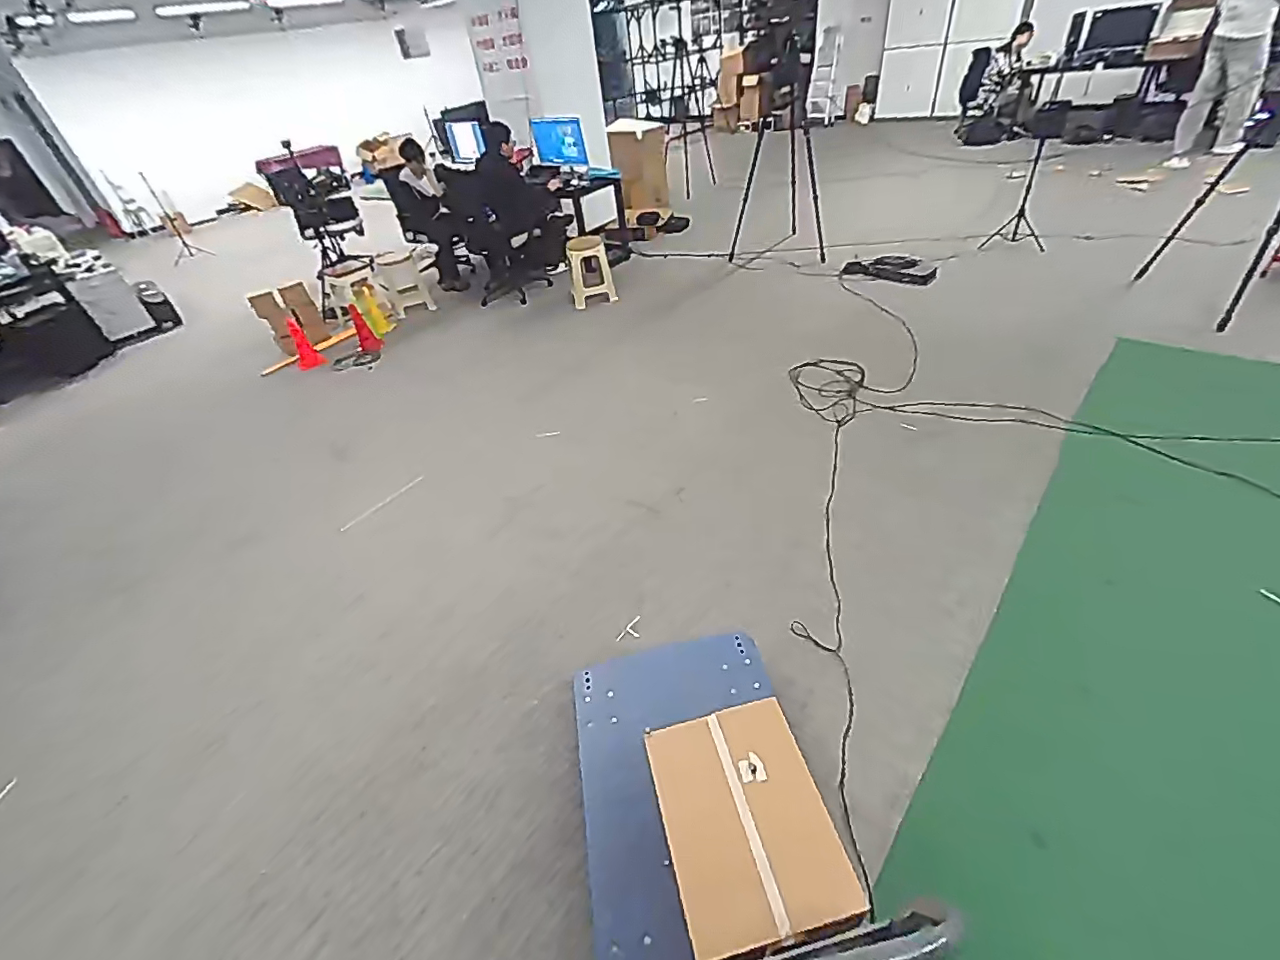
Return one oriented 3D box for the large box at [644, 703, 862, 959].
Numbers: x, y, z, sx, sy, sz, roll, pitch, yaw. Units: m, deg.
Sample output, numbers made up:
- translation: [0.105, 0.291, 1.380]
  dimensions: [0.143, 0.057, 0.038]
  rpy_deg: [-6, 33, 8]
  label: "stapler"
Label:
- translation: [0.220, 0.780, 1.170]
  dimensions: [0.320, 0.320, 0.408]
  rpy_deg: [-13, 39, -6]
  label: "large box"
